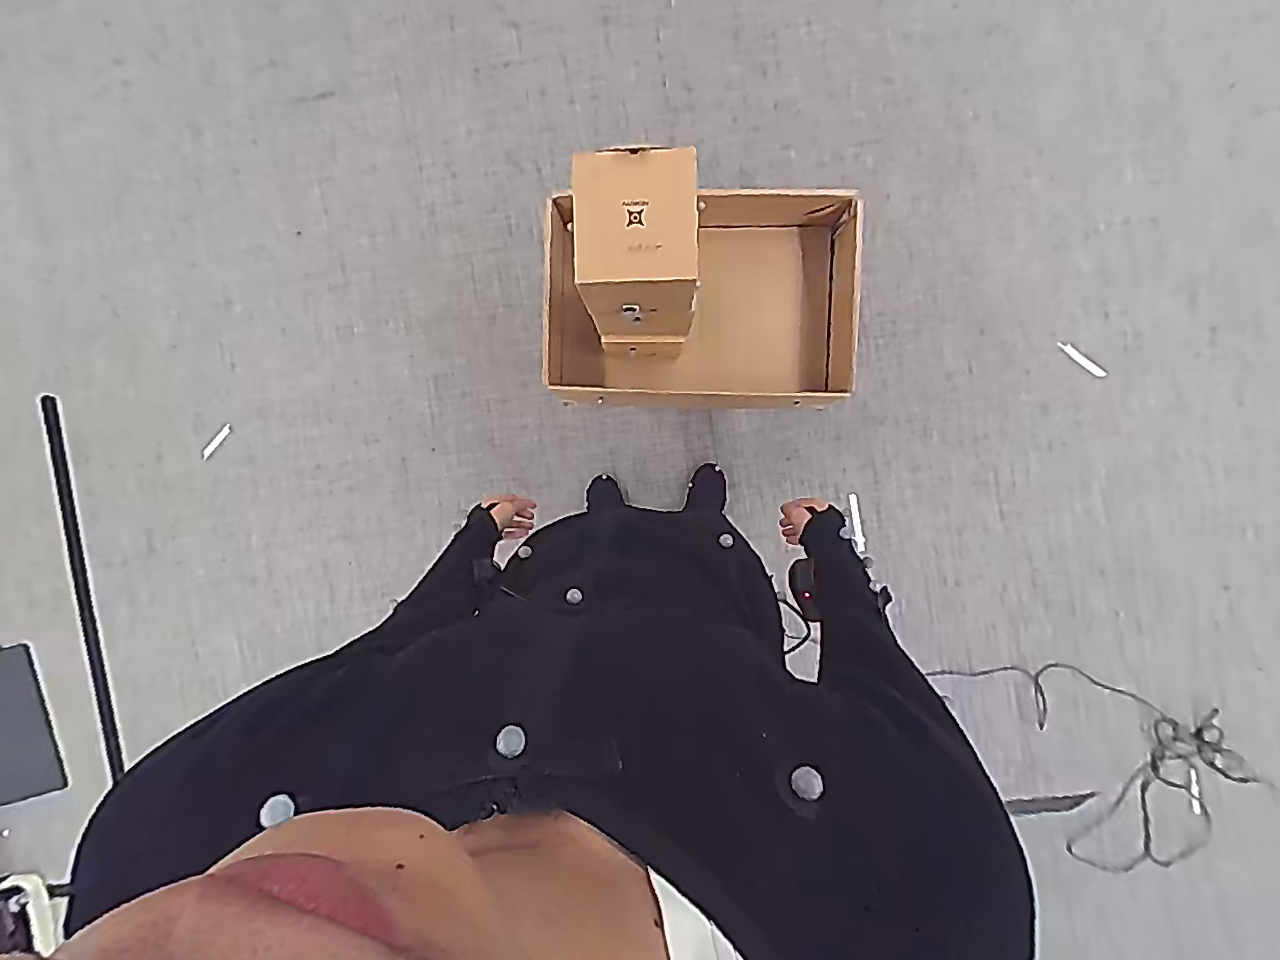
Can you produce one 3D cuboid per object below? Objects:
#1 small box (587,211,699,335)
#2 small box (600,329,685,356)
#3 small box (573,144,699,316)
[{"bbox_3d":[0.007,-0.355,0.944,0.179,0.176,0.168,1,92,1],"label":"small box"},{"bbox_3d":[0.008,-0.354,1.109,0.168,0.176,0.179,0,92,1],"label":"small box"},{"bbox_3d":[-0.003,-0.348,0.781,0.168,0.176,0.179,-1,91,3],"label":"small box"}]
